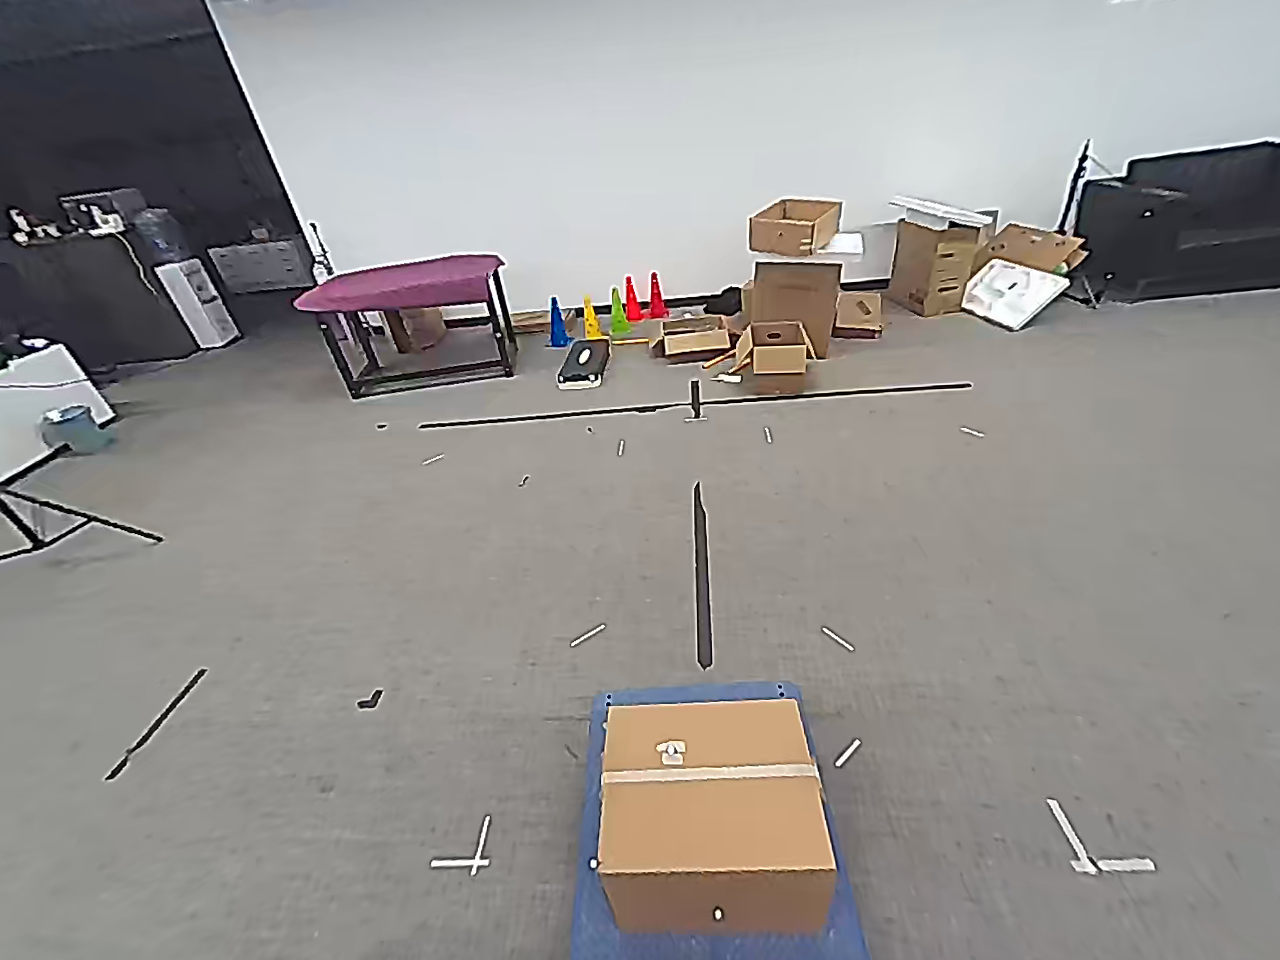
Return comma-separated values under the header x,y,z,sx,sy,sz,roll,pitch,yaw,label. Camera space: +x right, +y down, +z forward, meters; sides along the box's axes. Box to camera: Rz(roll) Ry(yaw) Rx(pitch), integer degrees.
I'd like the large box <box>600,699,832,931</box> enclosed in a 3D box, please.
x,y,z,sx,sy,sz,roll,pitch,yaw,label
0.147,0.696,1.127,0.408,0.320,0.320,-6,34,5,large box
